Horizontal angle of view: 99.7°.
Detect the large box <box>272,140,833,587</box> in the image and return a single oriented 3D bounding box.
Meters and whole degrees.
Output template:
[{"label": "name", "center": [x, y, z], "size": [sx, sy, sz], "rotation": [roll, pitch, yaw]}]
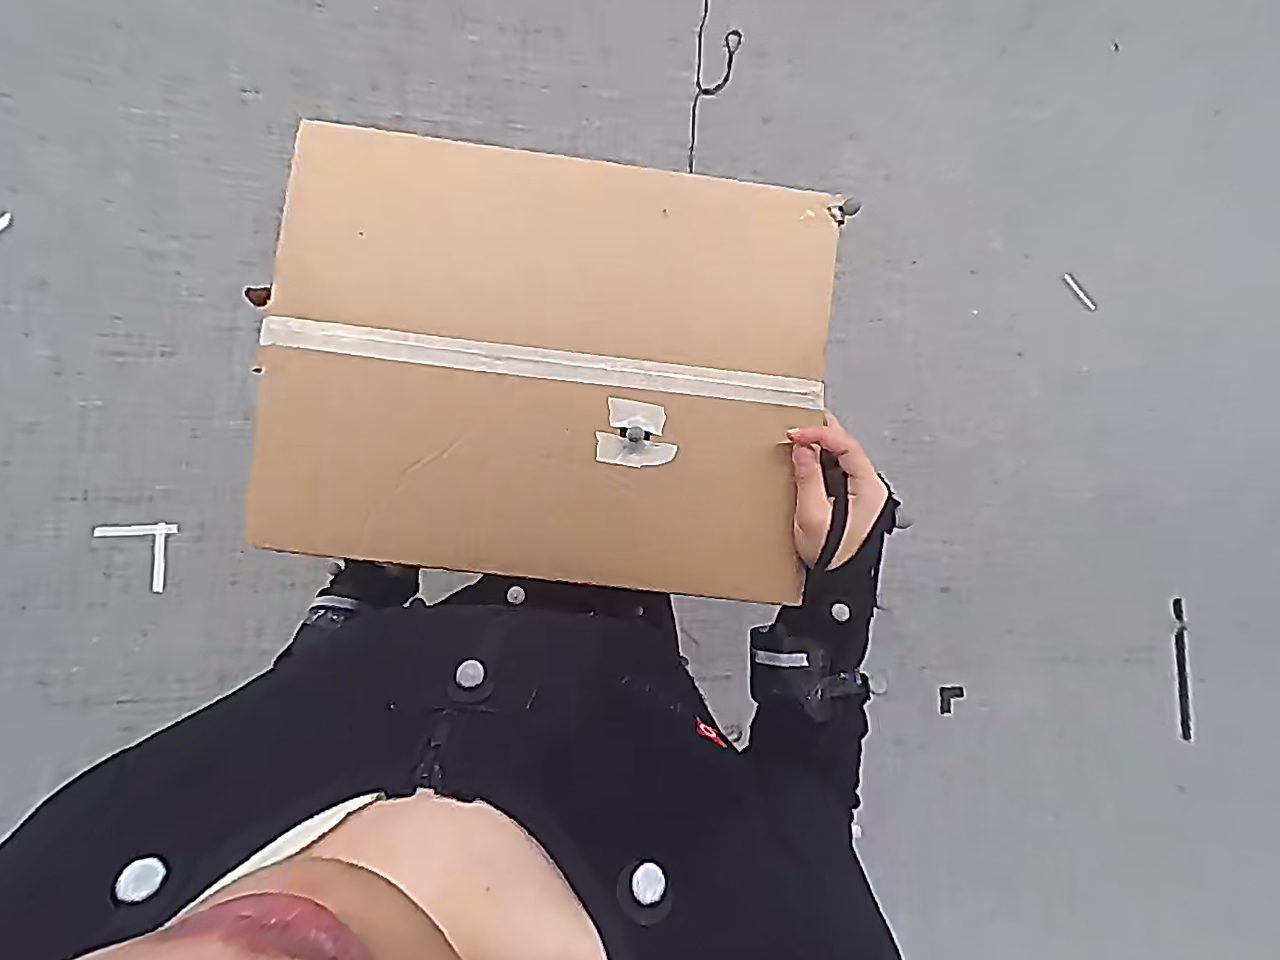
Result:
[{"label": "large box", "center": [-0.068, -0.081, 0.556], "size": [0.408, 0.320, 0.320], "rotation": [6, 88, -3]}]
